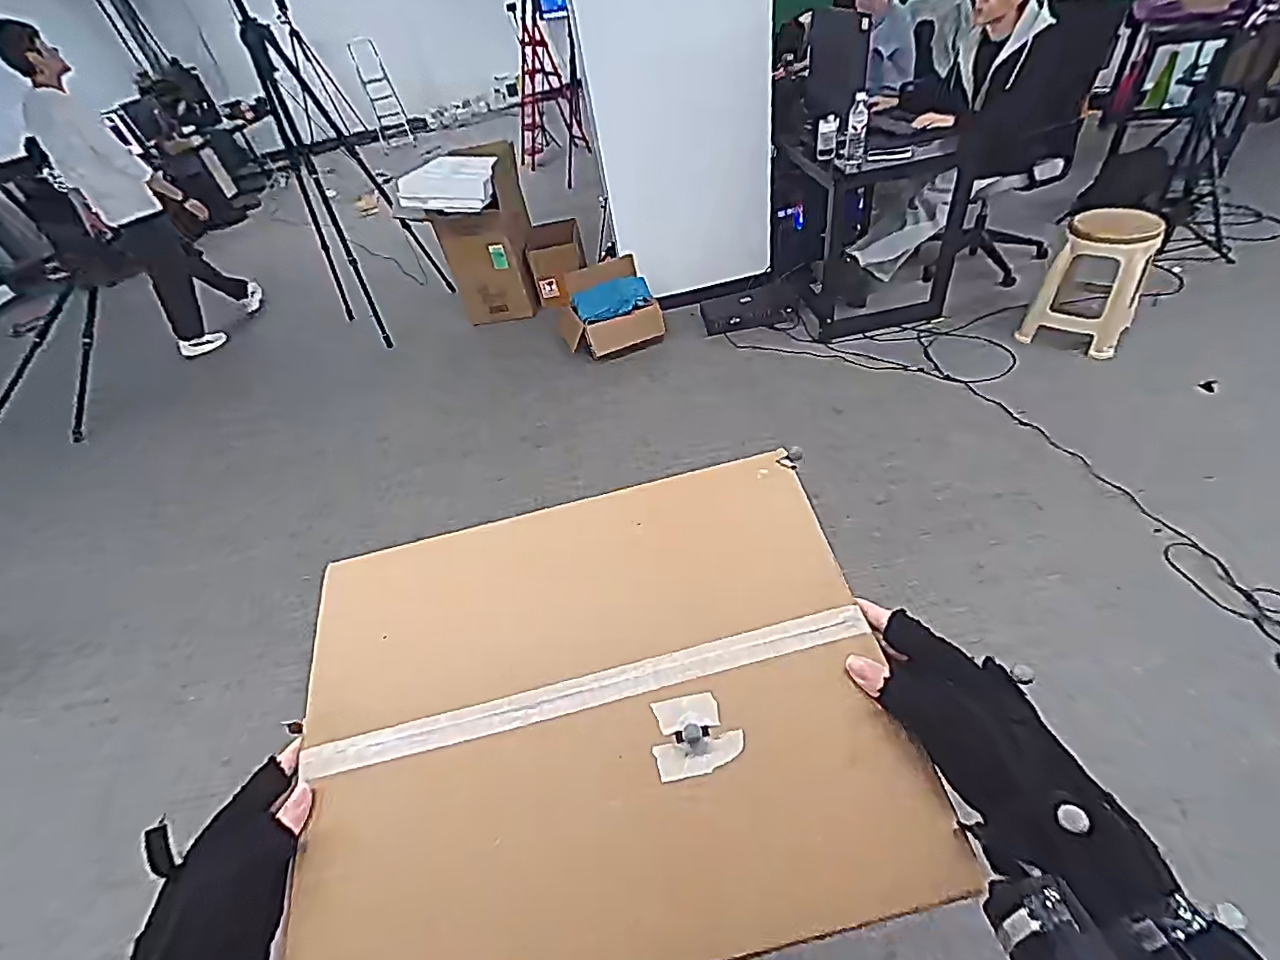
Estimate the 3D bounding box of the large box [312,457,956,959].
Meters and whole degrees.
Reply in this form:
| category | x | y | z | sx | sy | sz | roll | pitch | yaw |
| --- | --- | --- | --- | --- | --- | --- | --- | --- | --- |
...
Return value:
| category | x | y | z | sx | sy | sz | roll | pitch | yaw |
| --- | --- | --- | --- | --- | --- | --- | --- | --- | --- |
| large box | -0.017 | 0.231 | 0.521 | 0.408 | 0.320 | 0.320 | -14 | 57 | -2 |
